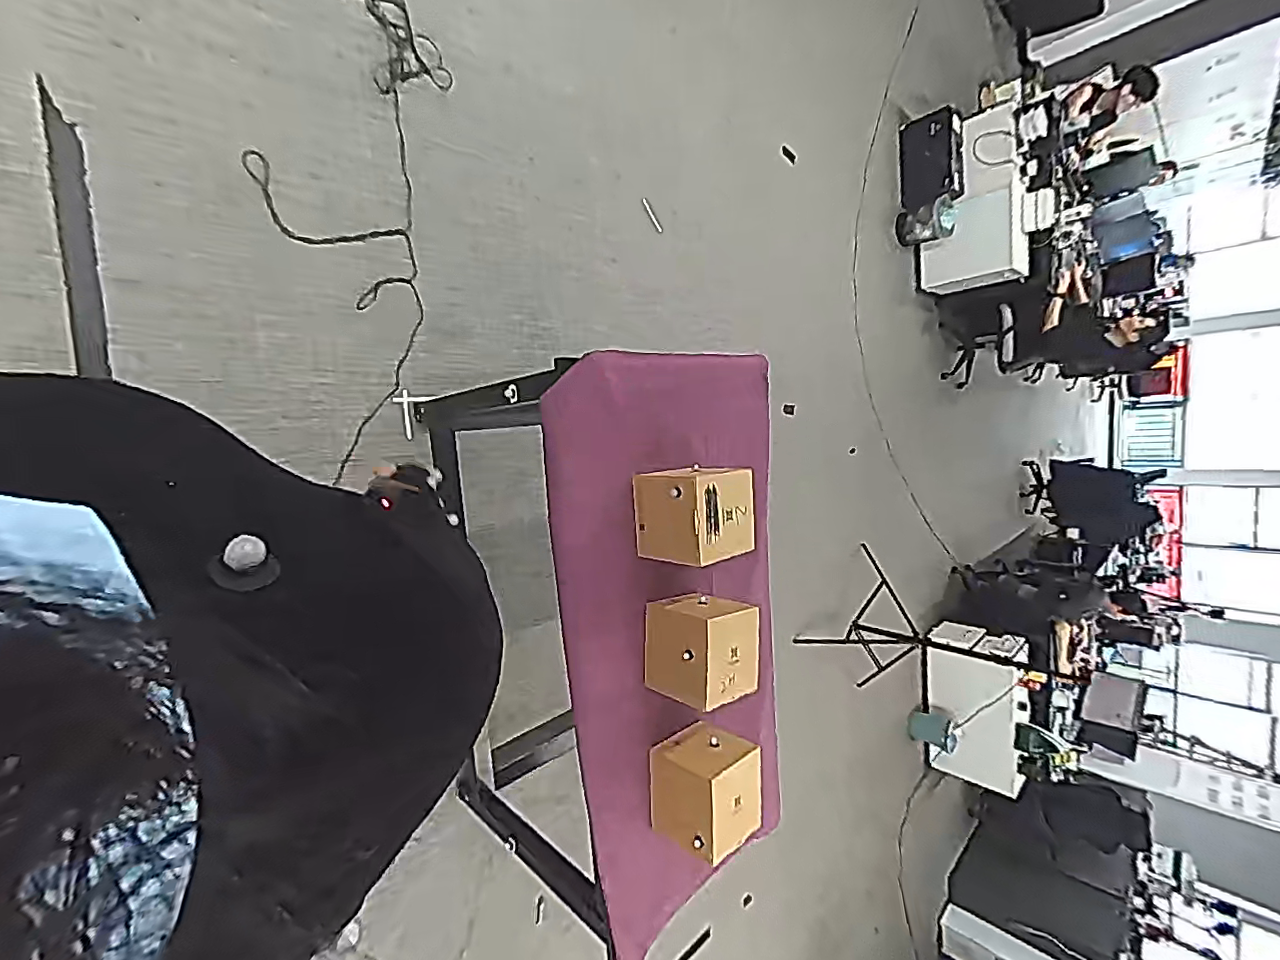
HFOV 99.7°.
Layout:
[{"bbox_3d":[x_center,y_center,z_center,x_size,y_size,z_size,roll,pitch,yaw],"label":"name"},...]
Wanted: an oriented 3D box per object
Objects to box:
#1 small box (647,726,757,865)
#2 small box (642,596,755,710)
[{"bbox_3d":[0.127,0.639,1.129,0.168,0.176,0.179,-4,95,-45],"label":"small box"},{"bbox_3d":[0.118,0.341,1.110,0.168,0.176,0.179,2,91,-43],"label":"small box"}]
